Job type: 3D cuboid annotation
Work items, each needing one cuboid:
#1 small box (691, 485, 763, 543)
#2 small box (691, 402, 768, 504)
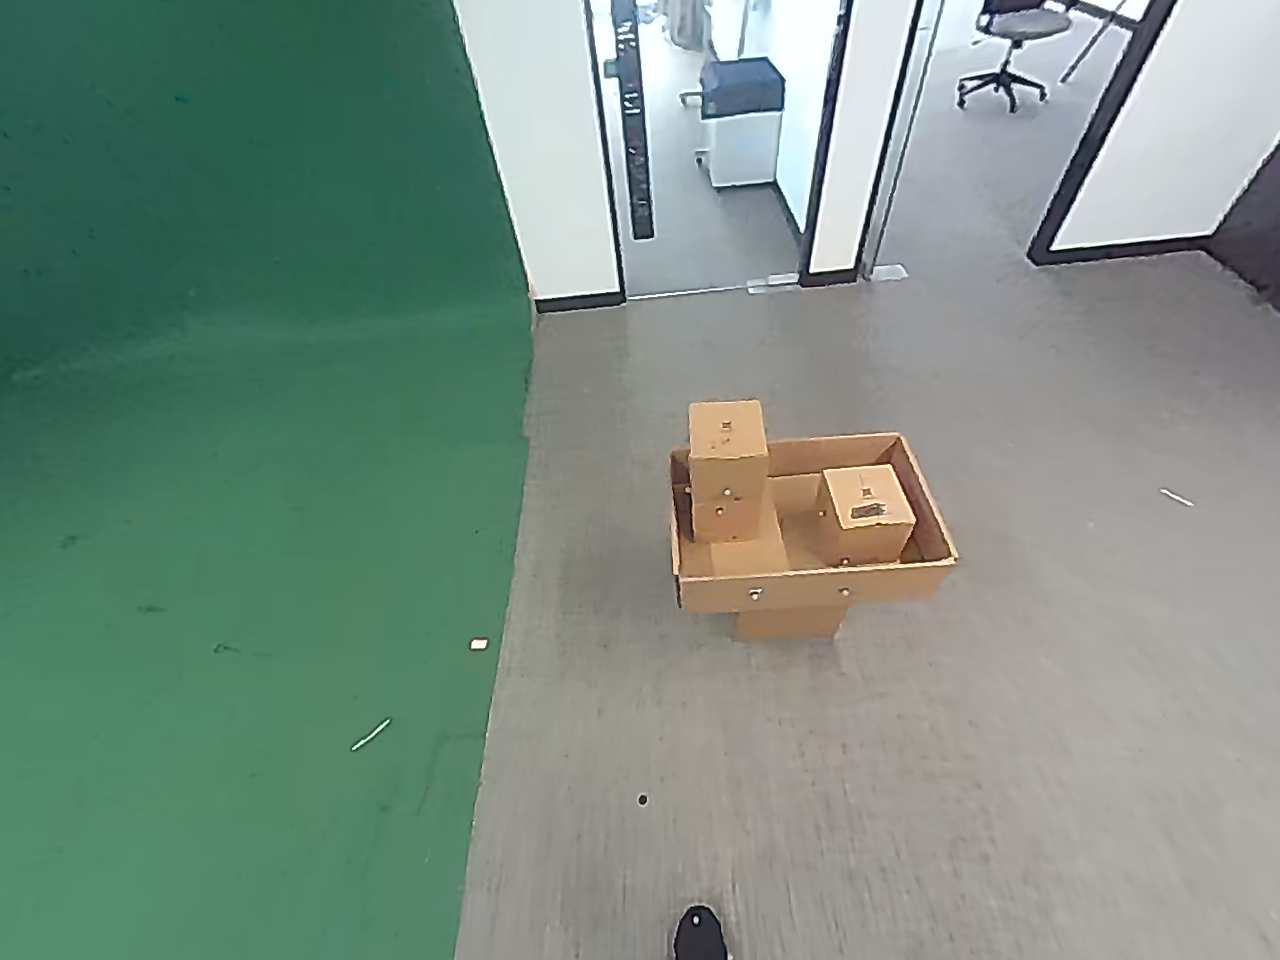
[{"bbox_3d":[0.215,0.043,1.388,0.168,0.176,0.179,-2,50,4],"label":"small box"},{"bbox_3d":[0.202,-0.062,1.263,0.168,0.176,0.179,-1,51,6],"label":"small box"}]
